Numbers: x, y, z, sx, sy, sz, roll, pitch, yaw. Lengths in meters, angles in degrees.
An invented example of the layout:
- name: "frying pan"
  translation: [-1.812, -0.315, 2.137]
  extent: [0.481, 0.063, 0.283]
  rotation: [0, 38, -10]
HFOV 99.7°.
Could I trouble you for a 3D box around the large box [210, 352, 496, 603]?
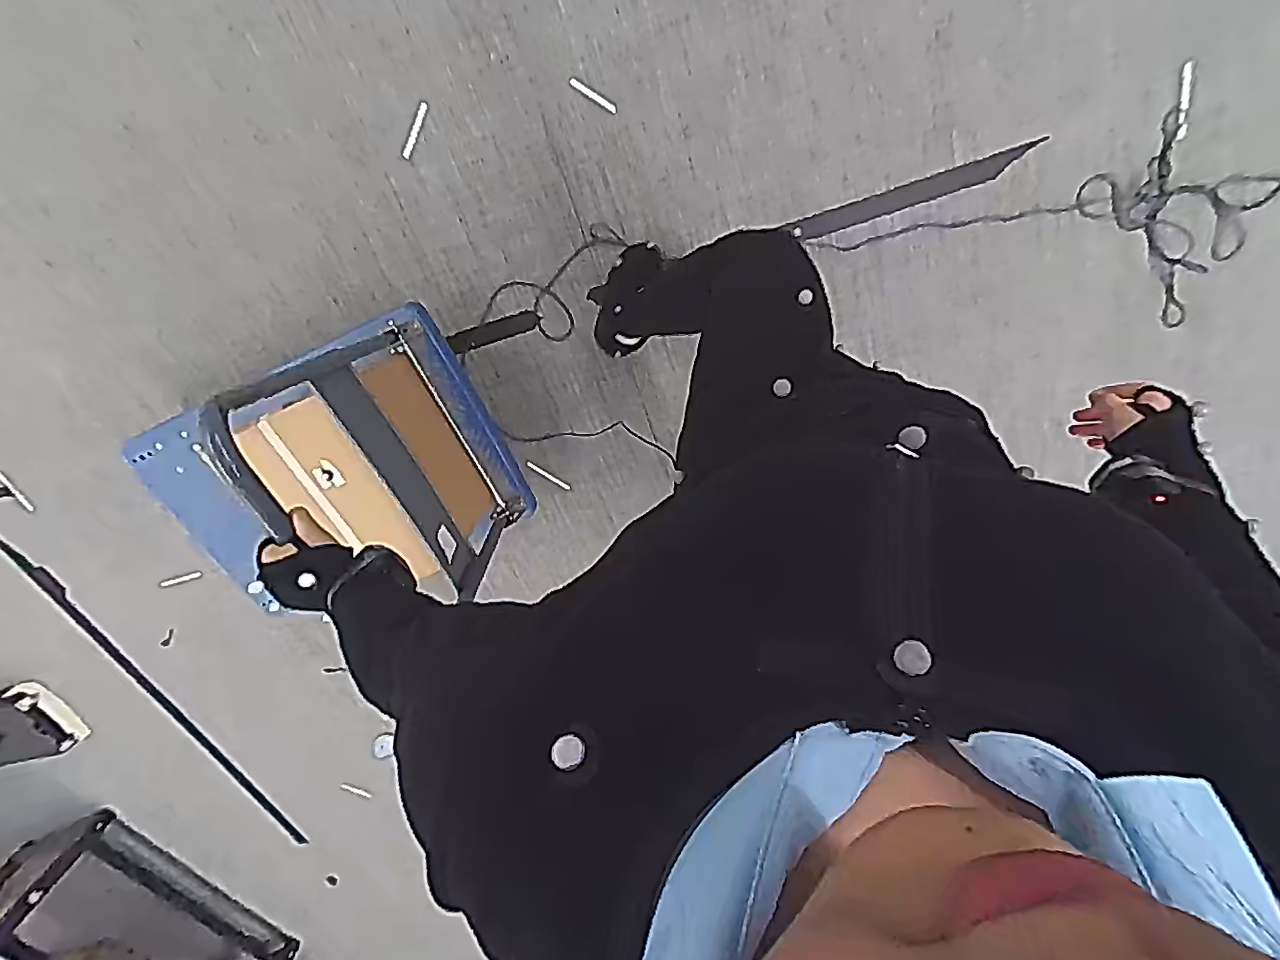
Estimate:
- name: "large box"
  translation: [-0.581, -0.014, 1.186]
  extent: [0.320, 0.320, 0.408]
  rotation: [-21, 112, 10]
